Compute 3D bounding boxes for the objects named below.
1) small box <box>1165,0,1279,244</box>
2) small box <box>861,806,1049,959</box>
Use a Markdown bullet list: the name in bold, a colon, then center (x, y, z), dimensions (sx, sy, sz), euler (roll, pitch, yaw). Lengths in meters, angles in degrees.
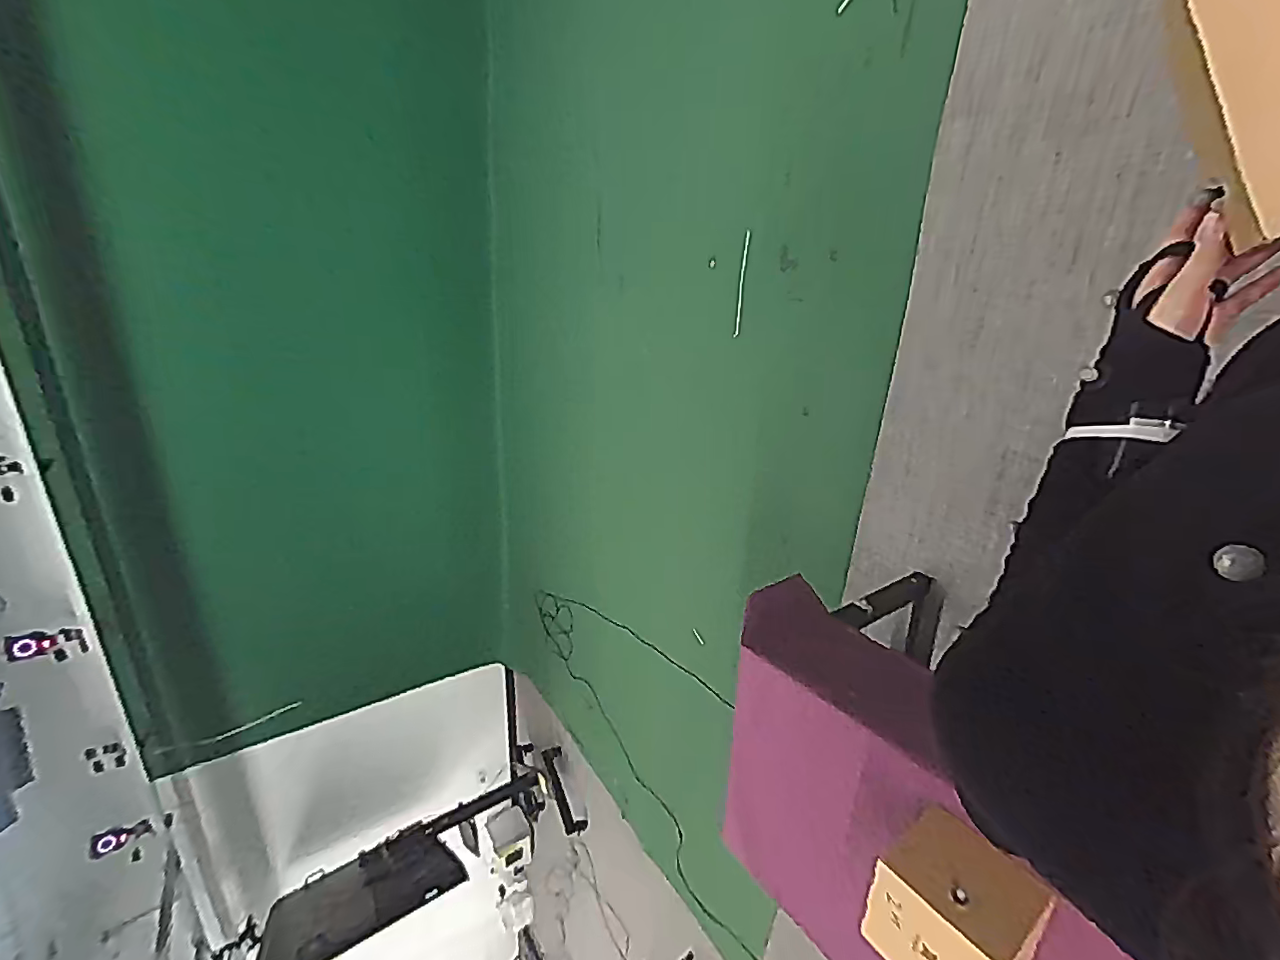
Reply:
- **small box**: center (0.429, -0.252, 0.303), dimensions (0.168, 0.176, 0.179), euler (-16, 92, 44)
- **small box**: center (0.469, 0.641, 0.810), dimensions (0.179, 0.176, 0.168), euler (27, 120, 49)
